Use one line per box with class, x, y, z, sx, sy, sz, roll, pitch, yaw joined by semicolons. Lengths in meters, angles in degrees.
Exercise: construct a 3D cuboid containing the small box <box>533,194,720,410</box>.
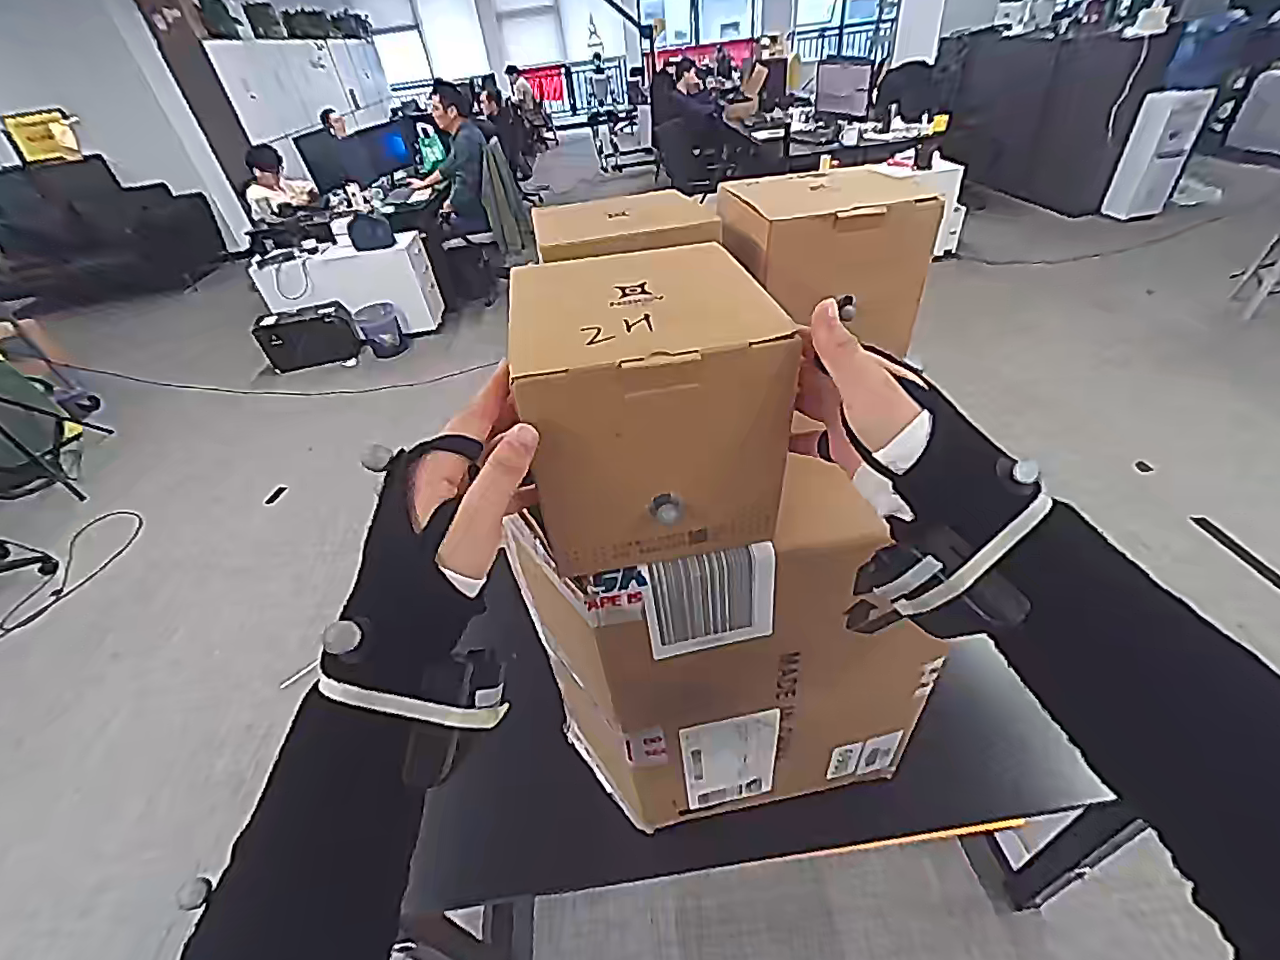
small box;-0.018;-0.197;0.591;0.168;0.176;0.179;-11;38;-6
